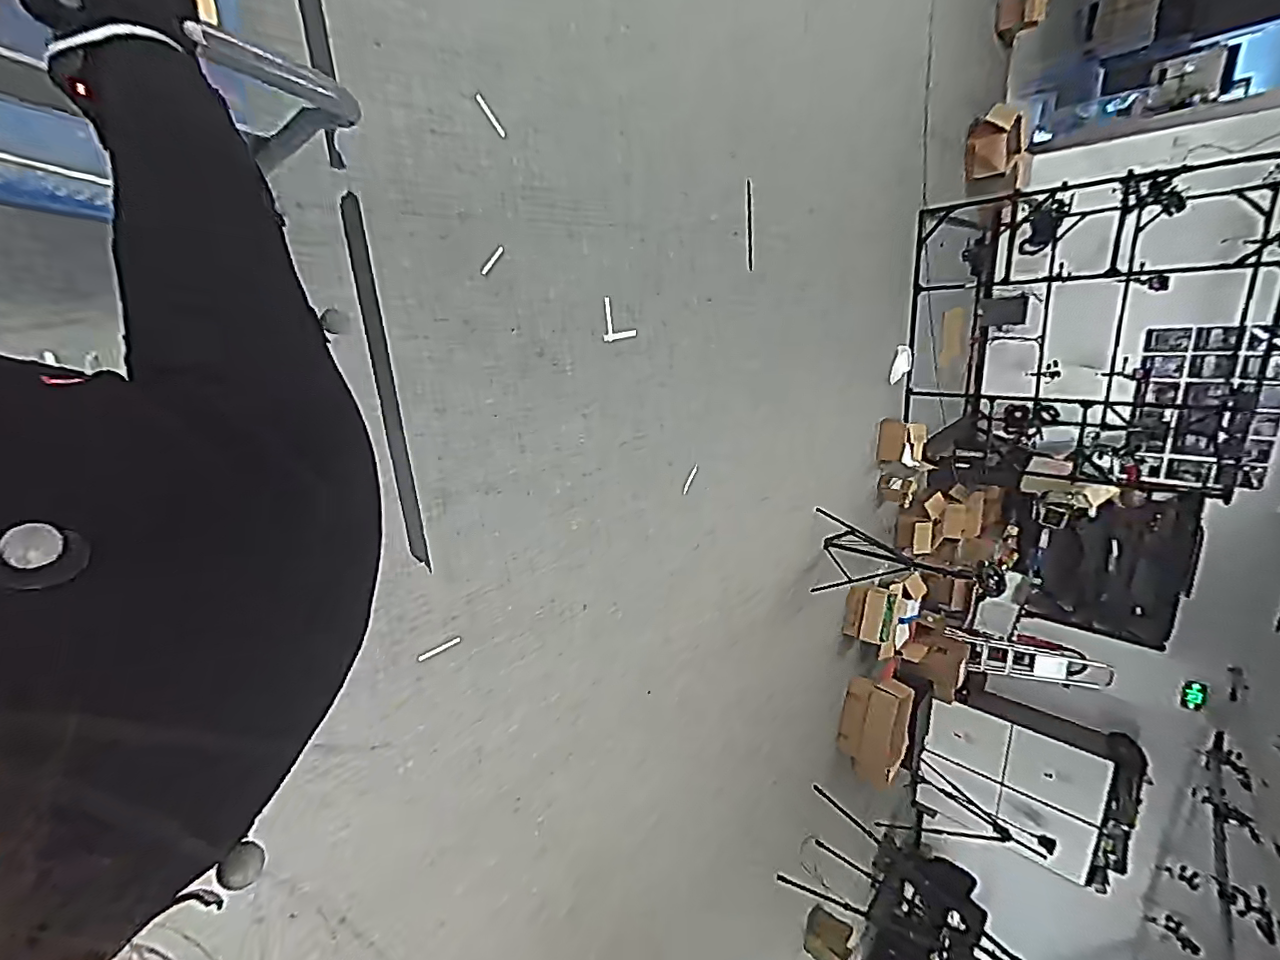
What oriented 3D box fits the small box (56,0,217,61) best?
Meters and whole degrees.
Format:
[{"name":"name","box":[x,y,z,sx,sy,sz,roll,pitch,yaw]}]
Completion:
[{"name":"small box","box":[-0.785,-0.794,0.834,0.179,0.176,0.168,-10,107,-47]}]
